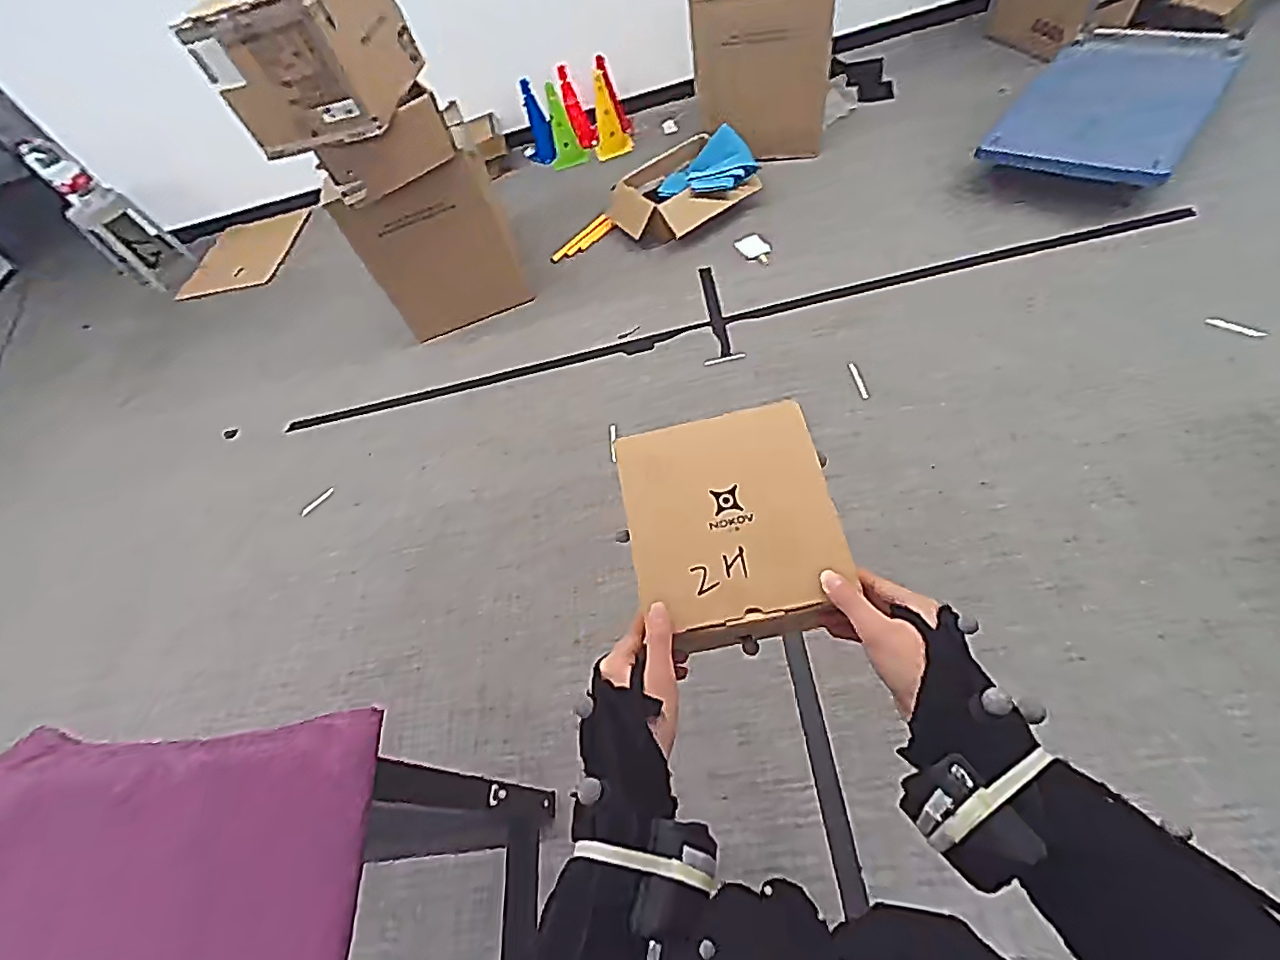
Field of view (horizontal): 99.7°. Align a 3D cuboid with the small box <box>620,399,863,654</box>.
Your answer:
[{"bbox_3d":[0.083,0.053,0.508,0.168,0.176,0.179,-12,66,4],"label":"small box"}]
